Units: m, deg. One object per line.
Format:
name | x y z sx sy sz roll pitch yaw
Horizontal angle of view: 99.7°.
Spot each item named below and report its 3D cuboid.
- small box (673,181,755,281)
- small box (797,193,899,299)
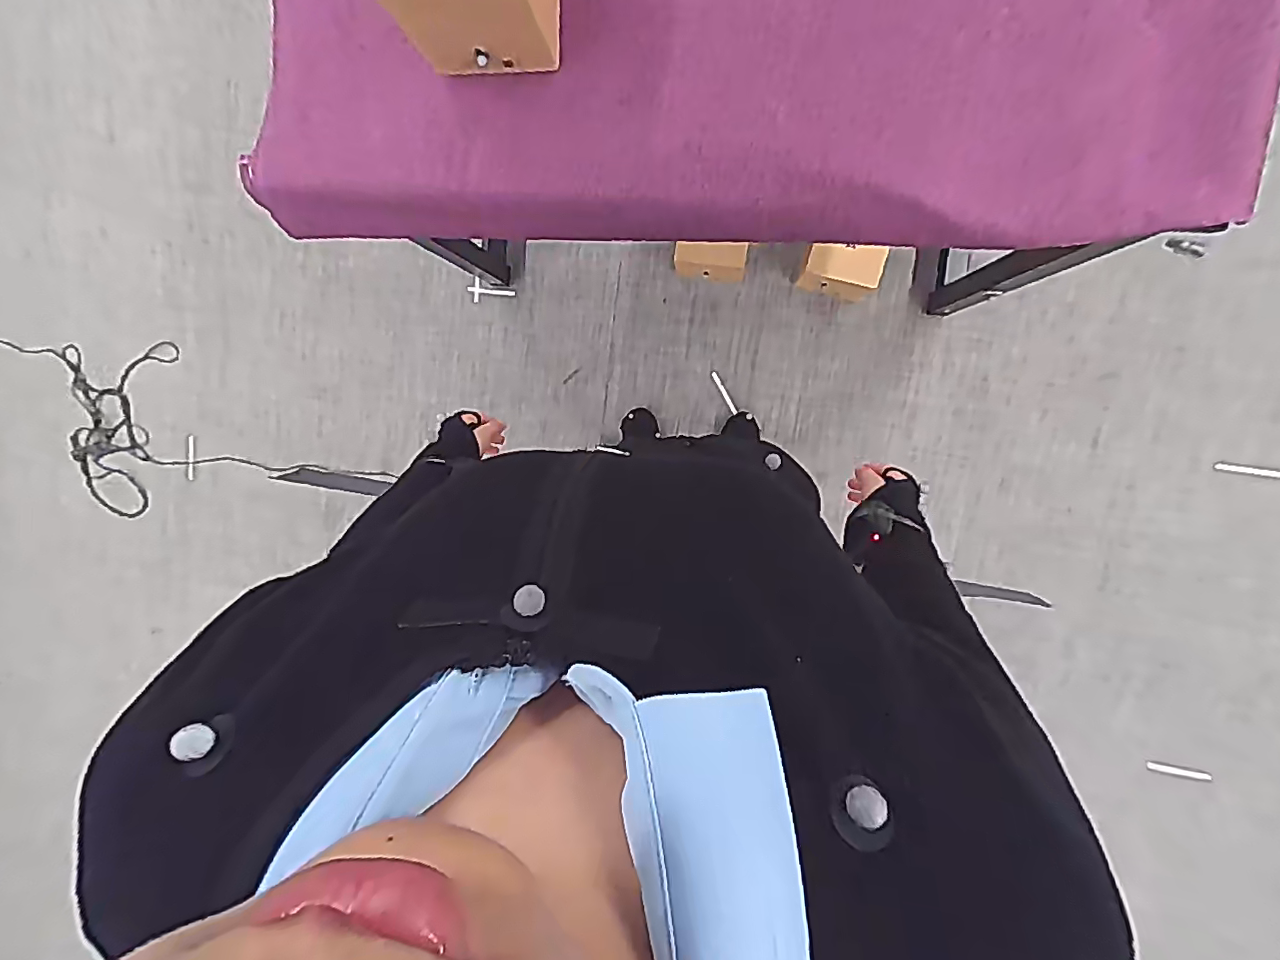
small box | 0.178 -0.594 1.313 0.168 0.176 0.179 9 98 5
small box | 0.481 -0.545 1.285 0.168 0.176 0.179 16 99 5
